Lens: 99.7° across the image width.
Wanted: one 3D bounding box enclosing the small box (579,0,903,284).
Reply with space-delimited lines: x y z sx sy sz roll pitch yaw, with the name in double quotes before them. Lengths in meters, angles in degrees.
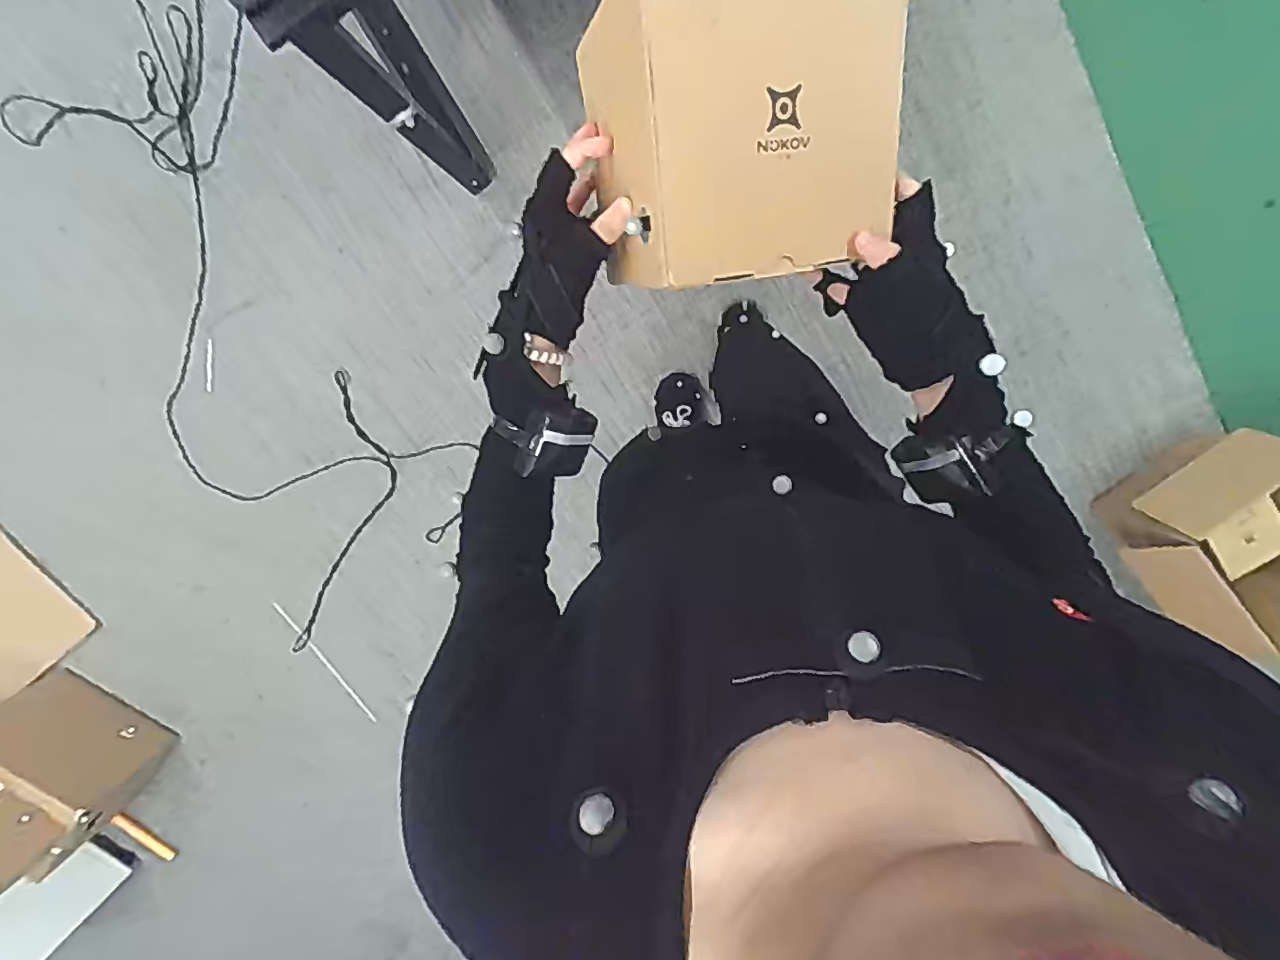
"small box" 0.060 -0.246 0.394 0.168 0.176 0.179 -13 115 -12
